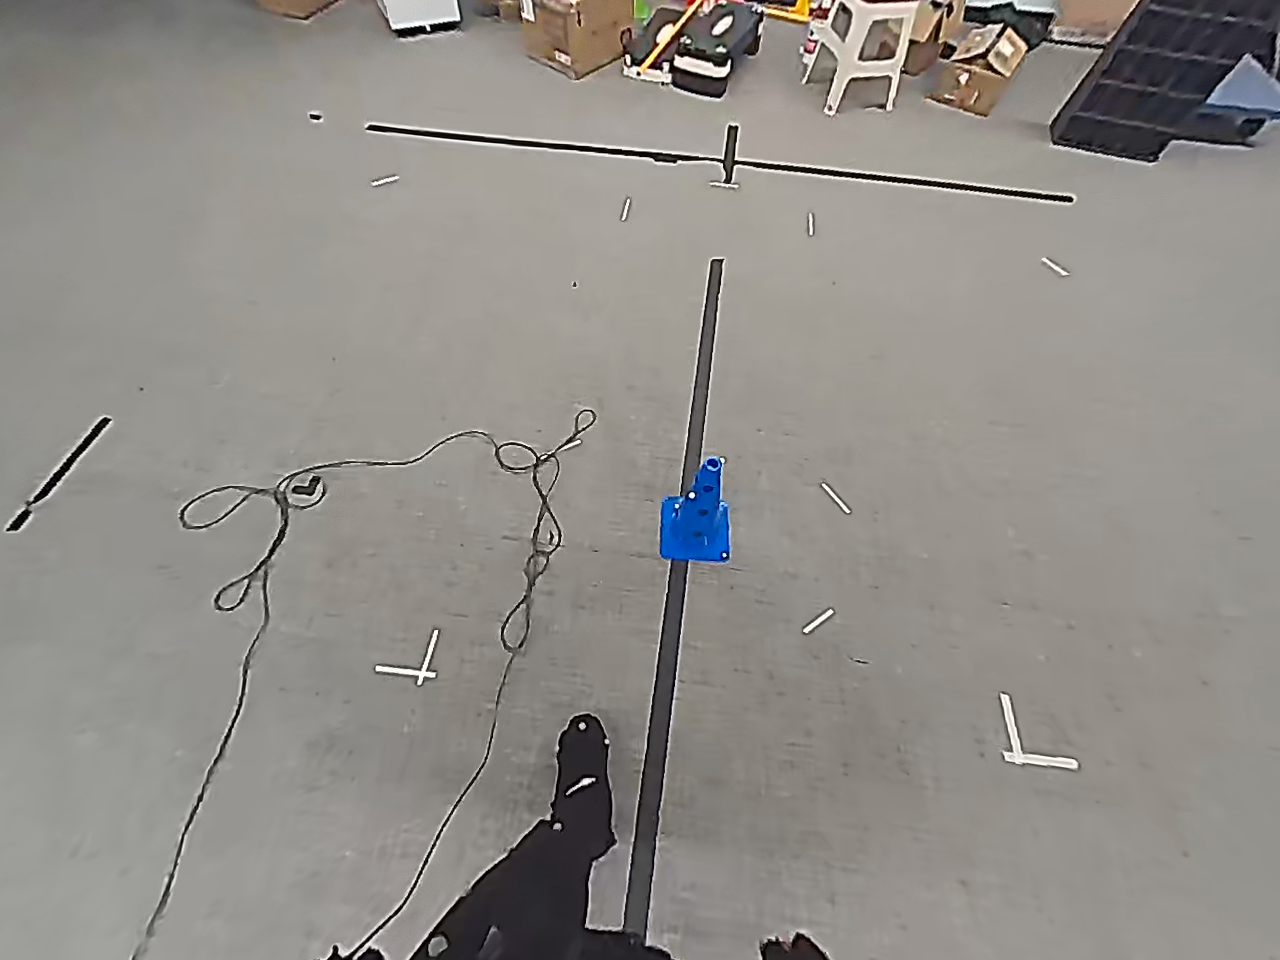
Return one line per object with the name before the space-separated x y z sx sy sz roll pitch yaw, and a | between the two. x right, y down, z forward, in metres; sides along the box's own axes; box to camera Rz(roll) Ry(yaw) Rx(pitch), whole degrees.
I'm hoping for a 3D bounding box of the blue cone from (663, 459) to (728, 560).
blue cone | 0.171 0.058 1.435 0.192 0.380 0.193 6 59 0
